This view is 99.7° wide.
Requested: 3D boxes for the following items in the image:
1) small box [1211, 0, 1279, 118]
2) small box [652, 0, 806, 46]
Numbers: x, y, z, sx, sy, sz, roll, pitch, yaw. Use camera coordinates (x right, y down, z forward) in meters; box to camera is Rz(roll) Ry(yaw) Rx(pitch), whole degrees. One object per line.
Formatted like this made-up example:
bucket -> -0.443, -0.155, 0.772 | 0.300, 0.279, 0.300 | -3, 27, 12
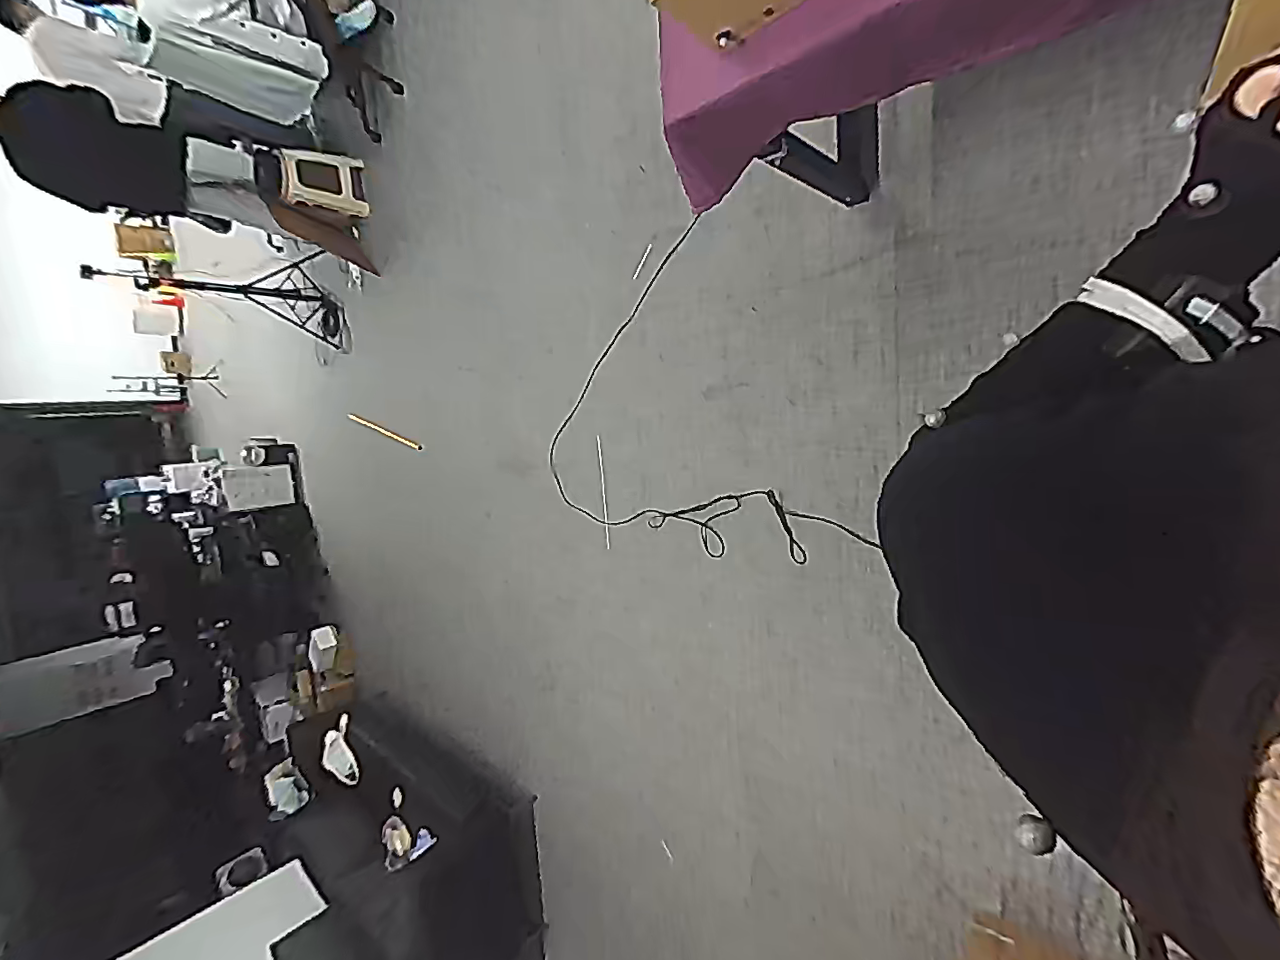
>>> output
small box -> 0.519, -0.349, 0.332 | 0.168, 0.176, 0.179 | 42, 117, 30
small box -> 0.127, -0.747, 0.742 | 0.168, 0.176, 0.179 | 2, 97, 43
